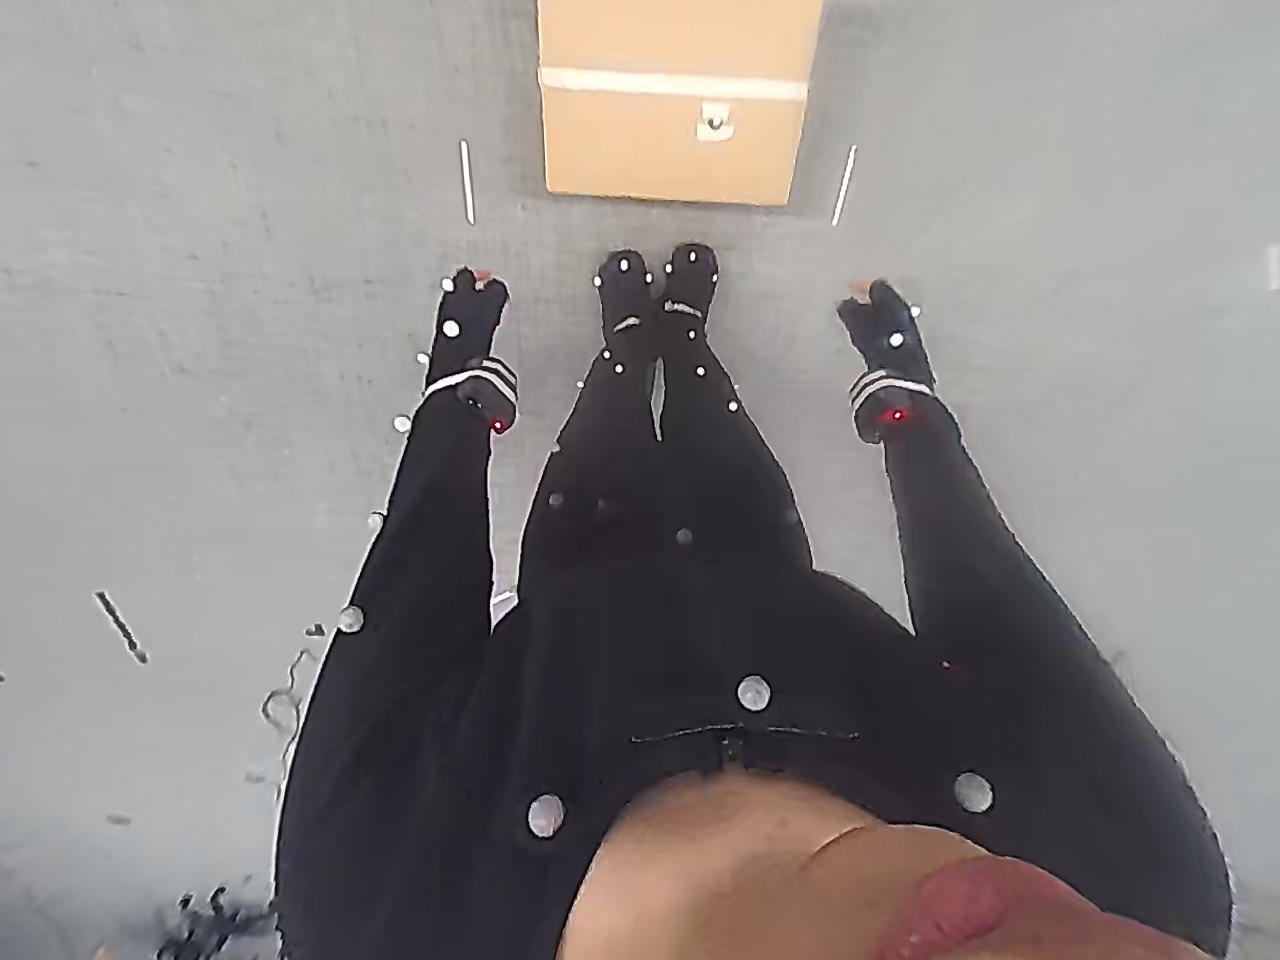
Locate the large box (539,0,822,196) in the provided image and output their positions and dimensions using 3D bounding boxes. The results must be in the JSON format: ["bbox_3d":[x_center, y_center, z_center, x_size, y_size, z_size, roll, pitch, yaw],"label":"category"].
[{"bbox_3d":[0.051,-0.688,0.929,0.408,0.320,0.320,2,126,-2],"label":"large box"}]
